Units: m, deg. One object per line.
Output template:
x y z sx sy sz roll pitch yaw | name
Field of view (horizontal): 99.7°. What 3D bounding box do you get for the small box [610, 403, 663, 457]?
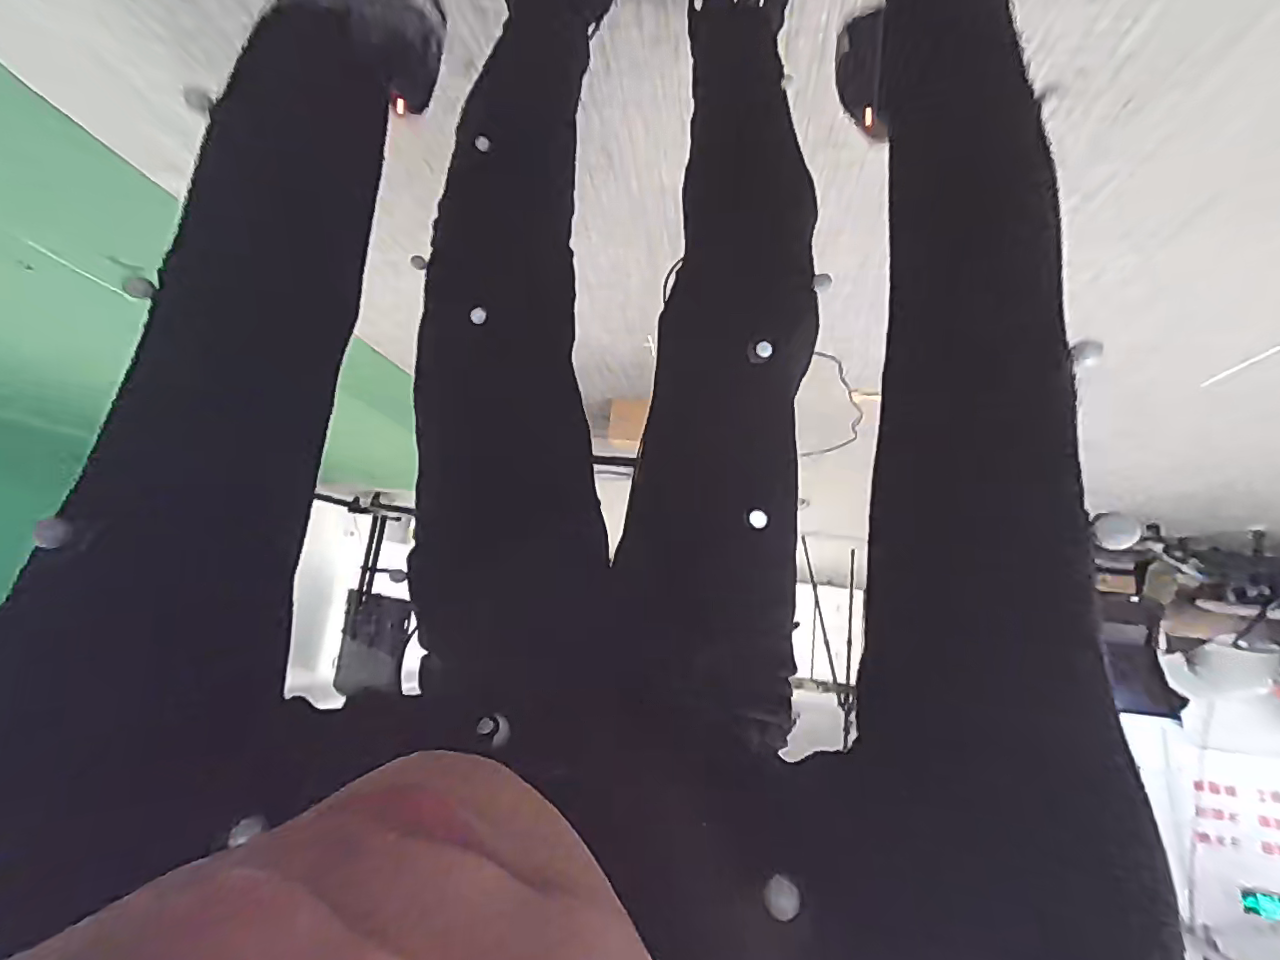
-0.011 -0.199 2.141 0.179 0.176 0.168 4 167 9 | small box
